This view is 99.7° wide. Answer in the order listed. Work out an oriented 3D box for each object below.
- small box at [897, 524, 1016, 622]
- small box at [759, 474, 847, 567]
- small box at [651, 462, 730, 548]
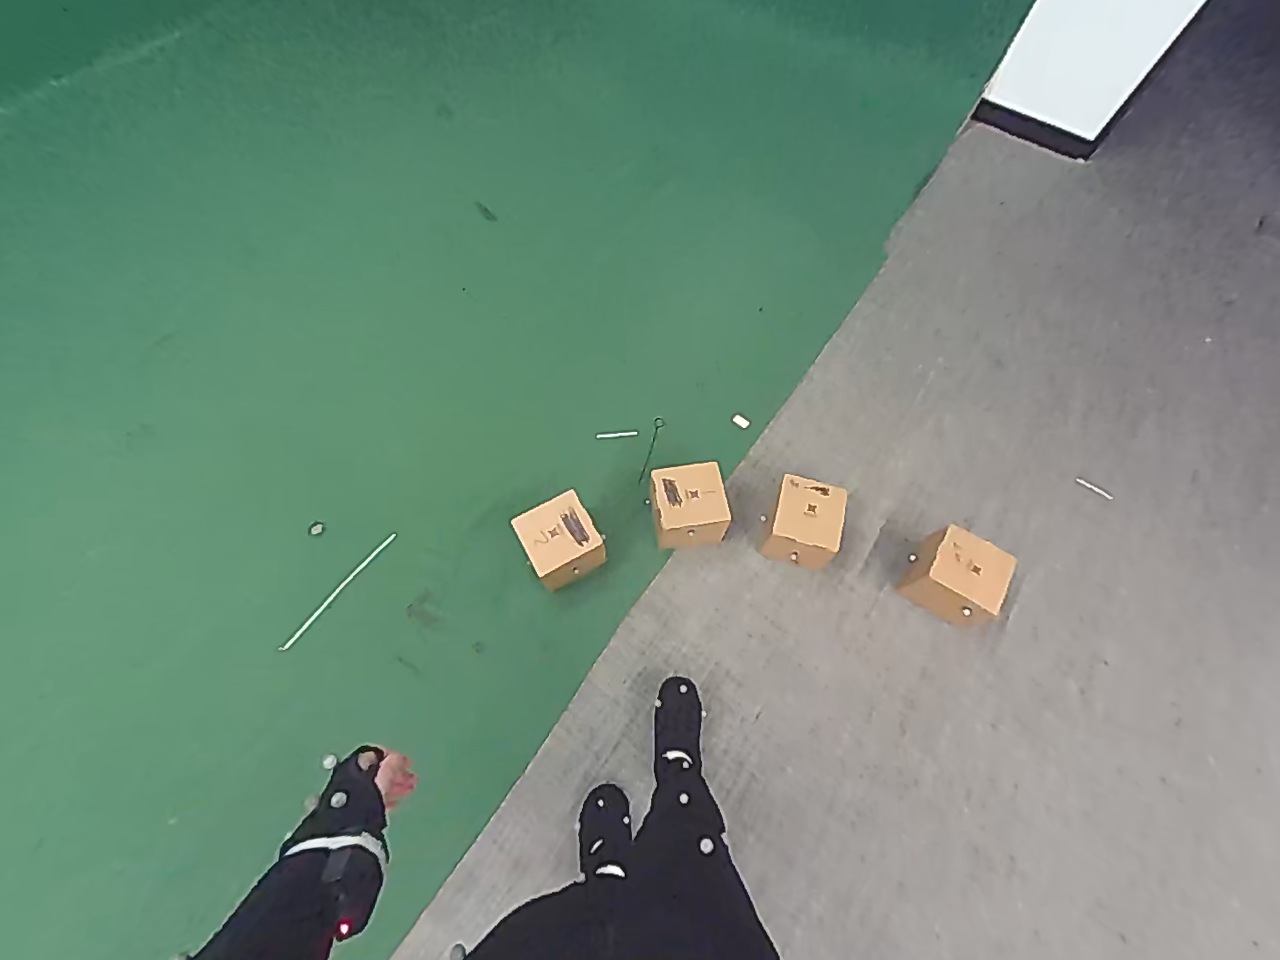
[{"bbox_3d":[0.794,0.244,1.370,0.179,0.176,0.168,32,68,11],"label":"small box"},{"bbox_3d":[0.421,0.112,1.420,0.168,0.176,0.179,16,67,6],"label":"small box"},{"bbox_3d":[0.125,0.071,1.431,0.179,0.176,0.168,-8,66,-6],"label":"small box"}]
